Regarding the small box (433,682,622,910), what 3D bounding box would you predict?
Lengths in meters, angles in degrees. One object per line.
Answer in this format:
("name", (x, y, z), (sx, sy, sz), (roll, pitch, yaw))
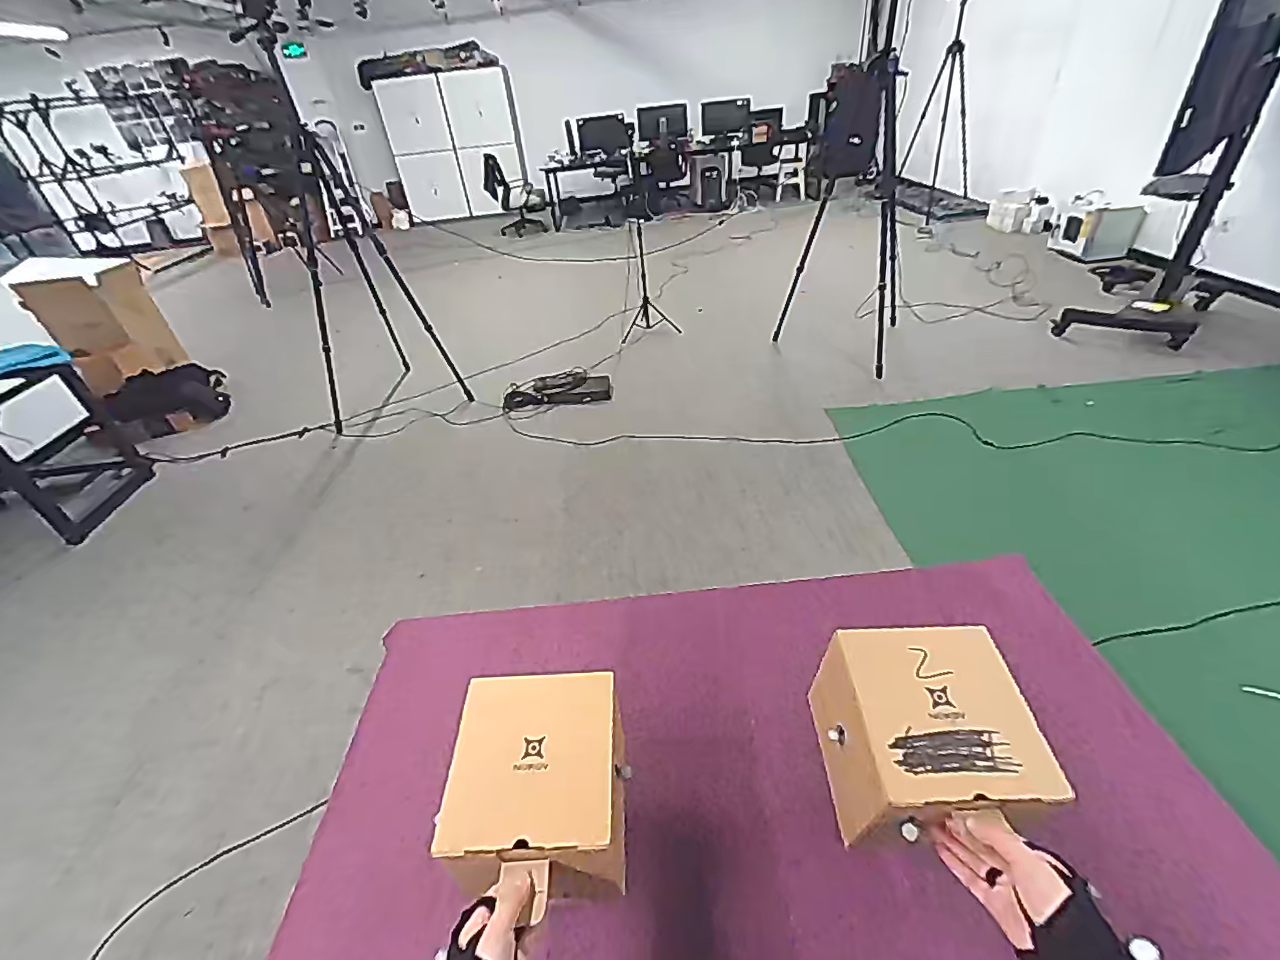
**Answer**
("small box", (-0.110, 0.354, 0.612), (0.168, 0.176, 0.179), (-4, 40, 0))
